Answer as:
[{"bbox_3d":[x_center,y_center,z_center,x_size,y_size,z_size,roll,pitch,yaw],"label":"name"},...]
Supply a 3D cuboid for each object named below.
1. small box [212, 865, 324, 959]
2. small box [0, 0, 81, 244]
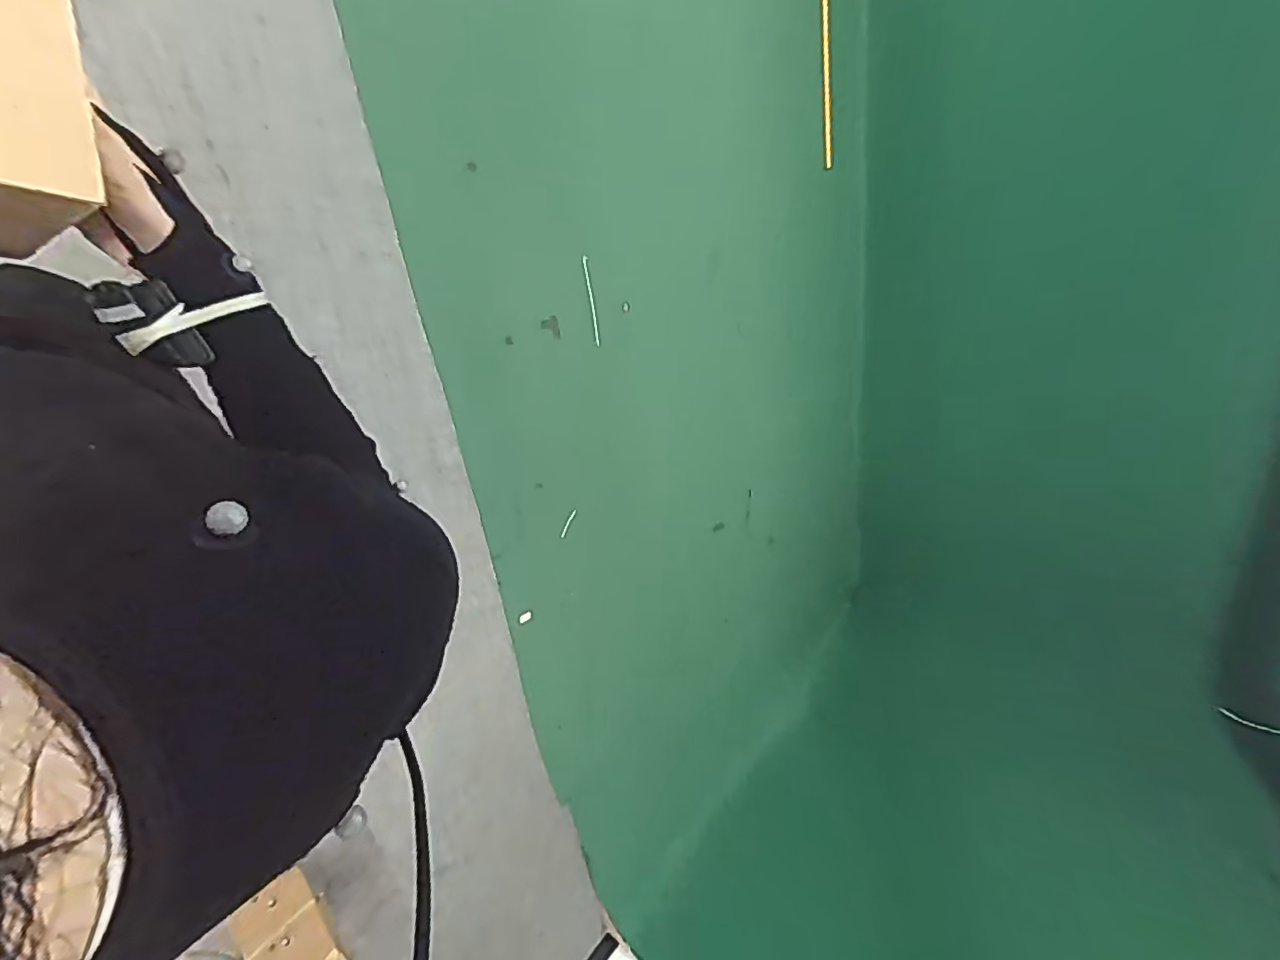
[{"bbox_3d":[-0.968,1.155,1.406,0.168,0.176,0.179,-35,123,-38],"label":"small box"},{"bbox_3d":[-0.389,-0.218,0.233,0.168,0.176,0.179,-14,104,-57],"label":"small box"}]
